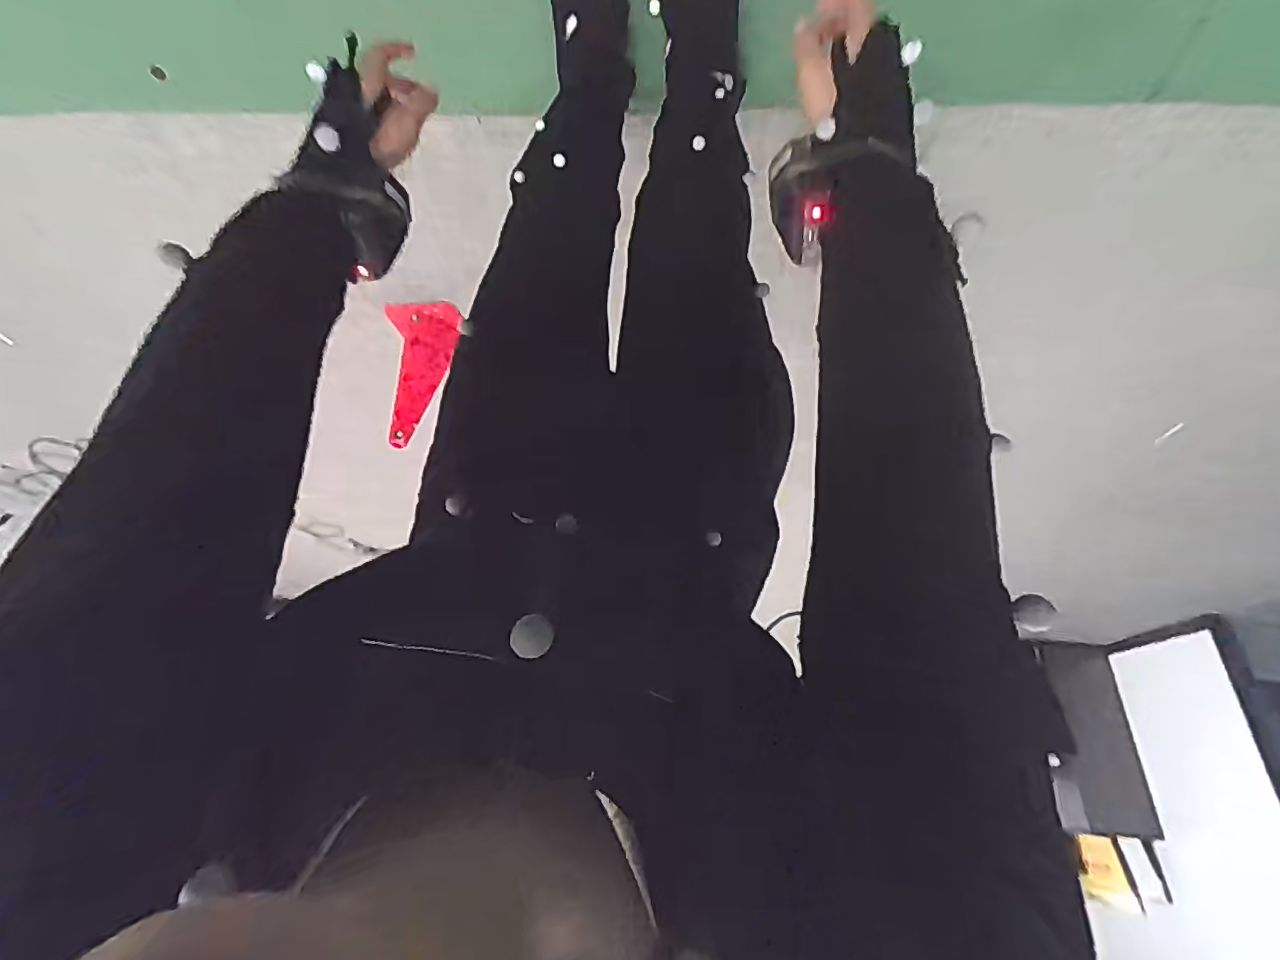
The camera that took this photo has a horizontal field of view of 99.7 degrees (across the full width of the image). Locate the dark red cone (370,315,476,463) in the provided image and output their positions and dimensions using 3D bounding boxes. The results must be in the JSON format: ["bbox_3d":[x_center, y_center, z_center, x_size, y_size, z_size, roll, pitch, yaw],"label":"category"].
[{"bbox_3d":[-0.568,-0.213,1.325,0.202,0.394,0.201,0,148,12],"label":"dark red cone"}]
